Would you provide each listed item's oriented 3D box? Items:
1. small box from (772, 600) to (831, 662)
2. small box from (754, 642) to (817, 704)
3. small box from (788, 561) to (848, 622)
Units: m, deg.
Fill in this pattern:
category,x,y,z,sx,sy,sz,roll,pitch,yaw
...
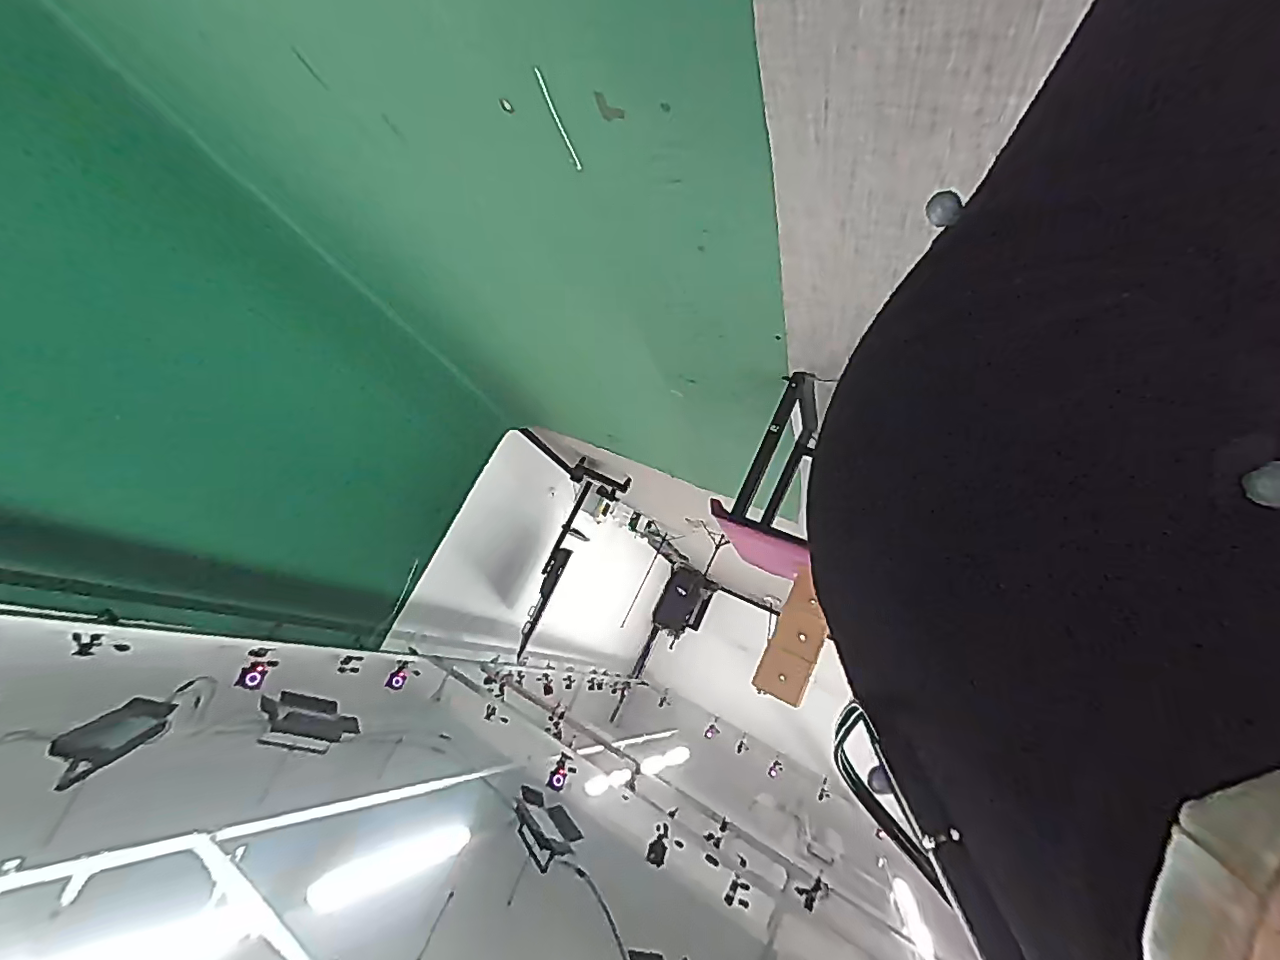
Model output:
category,x,y,z,sx,sy,sz,roll,pitch,yaw
small box,0.620,0.574,2.061,0.179,0.176,0.168,20,166,25
small box,0.548,0.720,2.030,0.179,0.176,0.168,19,166,26
small box,0.689,0.430,2.092,0.179,0.176,0.168,21,167,23
